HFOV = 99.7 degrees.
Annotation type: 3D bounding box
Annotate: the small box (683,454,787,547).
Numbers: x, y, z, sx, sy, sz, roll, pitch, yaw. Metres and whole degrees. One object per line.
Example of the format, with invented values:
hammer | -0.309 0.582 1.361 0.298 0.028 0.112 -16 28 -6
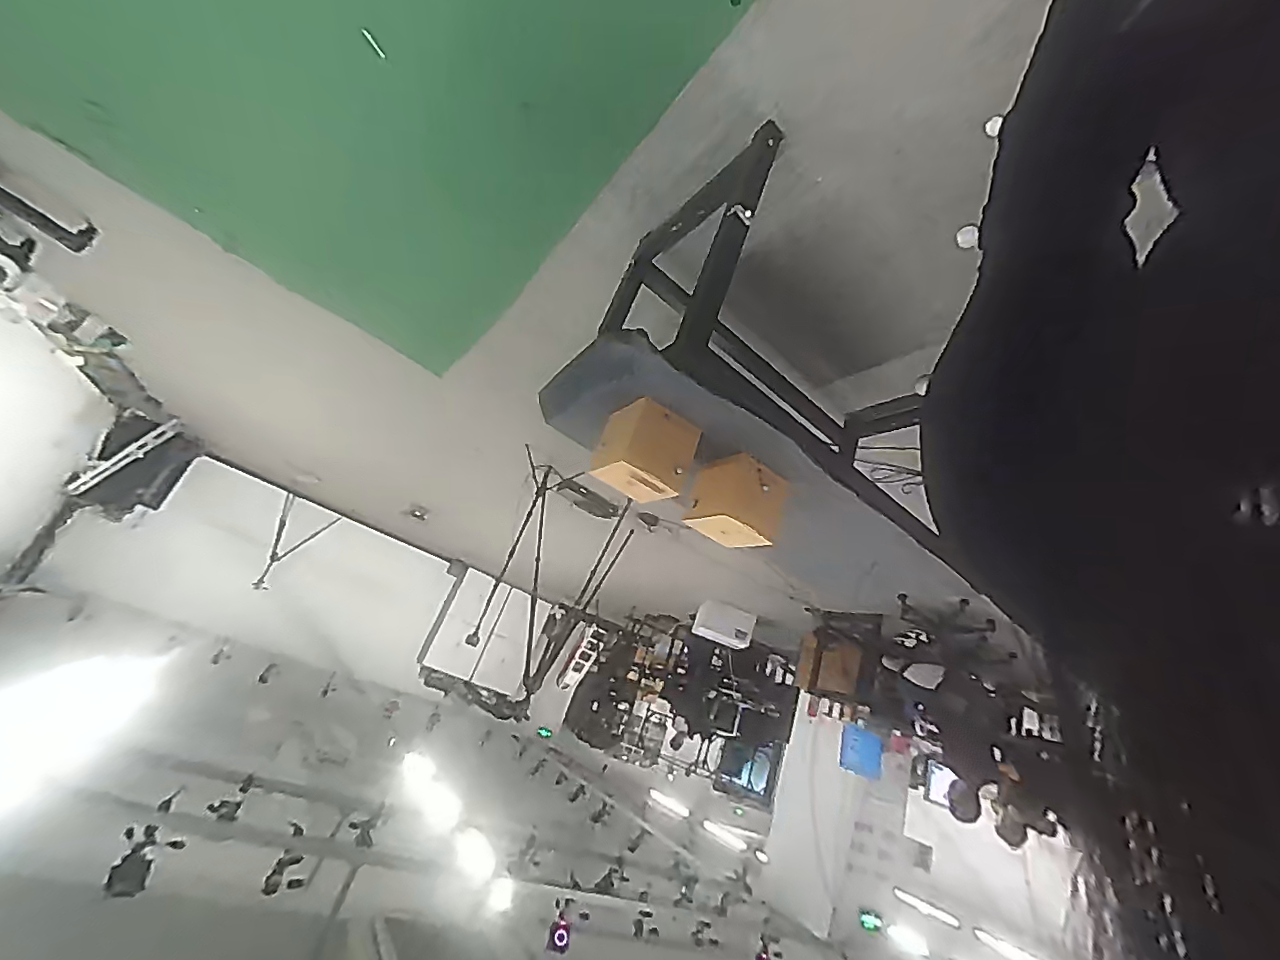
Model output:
small box | 0.240 0.055 1.350 0.168 0.176 0.179 30 156 -25
